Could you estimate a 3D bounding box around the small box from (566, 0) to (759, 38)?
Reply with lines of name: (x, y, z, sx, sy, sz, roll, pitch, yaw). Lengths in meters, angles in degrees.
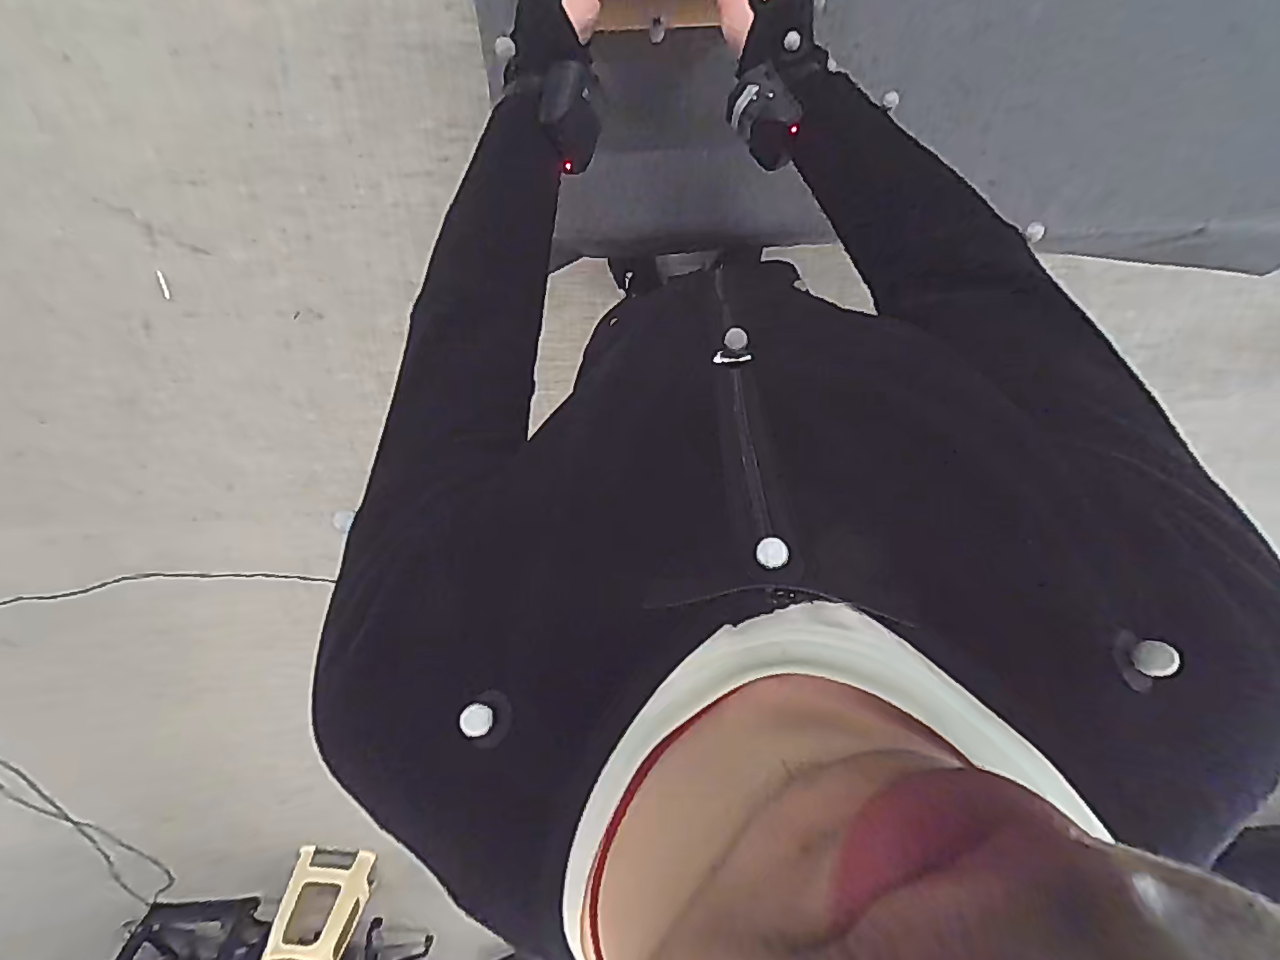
small box: (0.016, -0.531, 0.502, 0.179, 0.176, 0.168, -3, 121, 0)
